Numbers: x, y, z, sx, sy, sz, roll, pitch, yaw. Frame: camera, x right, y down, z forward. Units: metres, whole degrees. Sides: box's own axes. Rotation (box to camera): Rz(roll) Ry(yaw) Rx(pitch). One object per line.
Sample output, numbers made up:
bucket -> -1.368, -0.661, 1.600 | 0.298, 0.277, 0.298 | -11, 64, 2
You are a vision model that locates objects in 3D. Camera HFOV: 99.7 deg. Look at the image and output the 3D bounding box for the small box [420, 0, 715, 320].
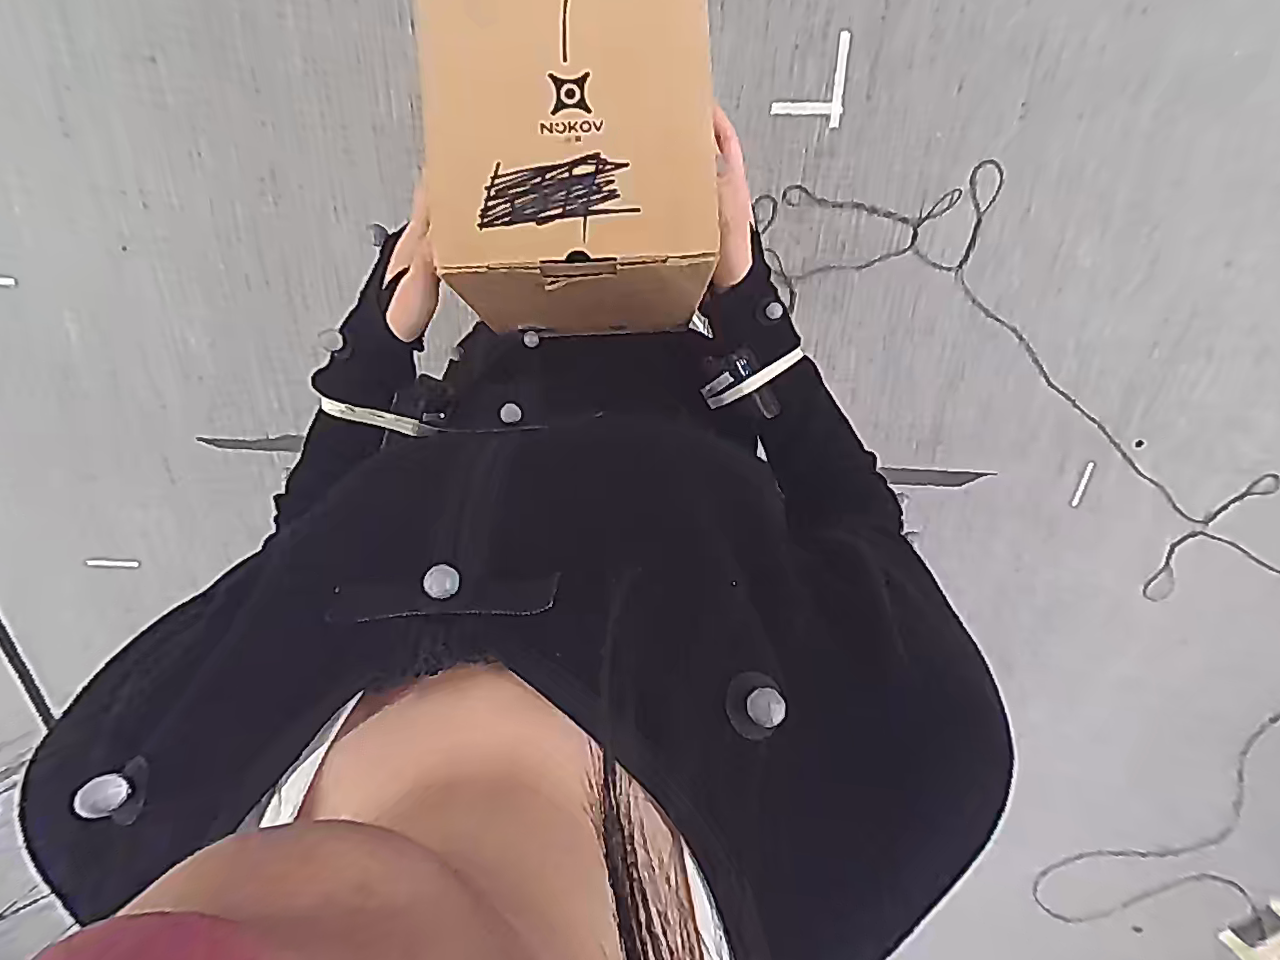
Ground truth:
small box -> -0.041, -0.218, 0.385 | 0.168, 0.176, 0.179 | -2, 91, -2
